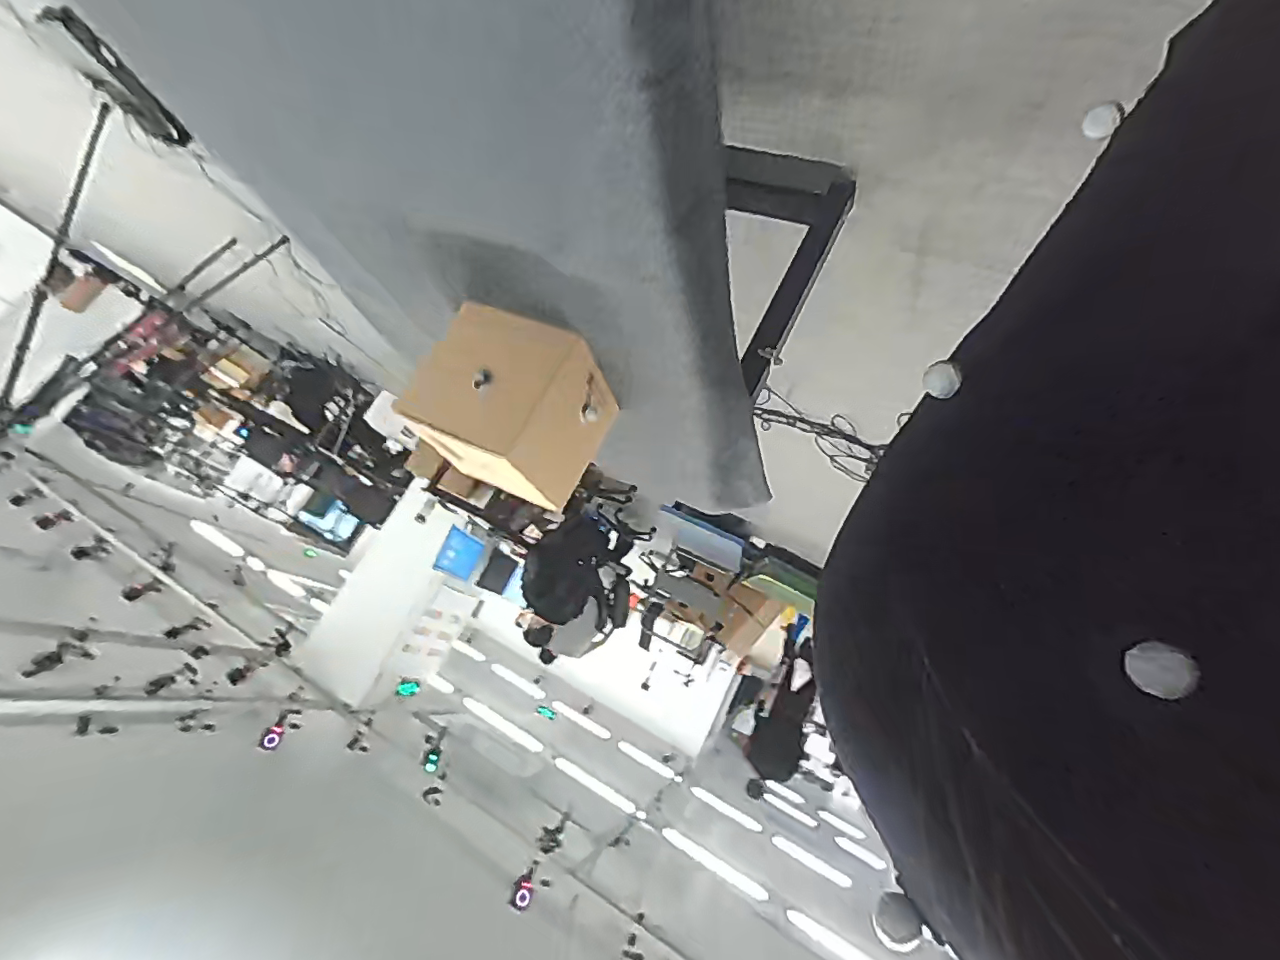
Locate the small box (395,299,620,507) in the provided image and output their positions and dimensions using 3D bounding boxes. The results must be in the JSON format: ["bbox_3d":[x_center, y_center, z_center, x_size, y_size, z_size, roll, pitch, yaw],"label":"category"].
[{"bbox_3d":[-0.151,-0.096,0.671,0.179,0.176,0.168,22,163,22],"label":"small box"}]
